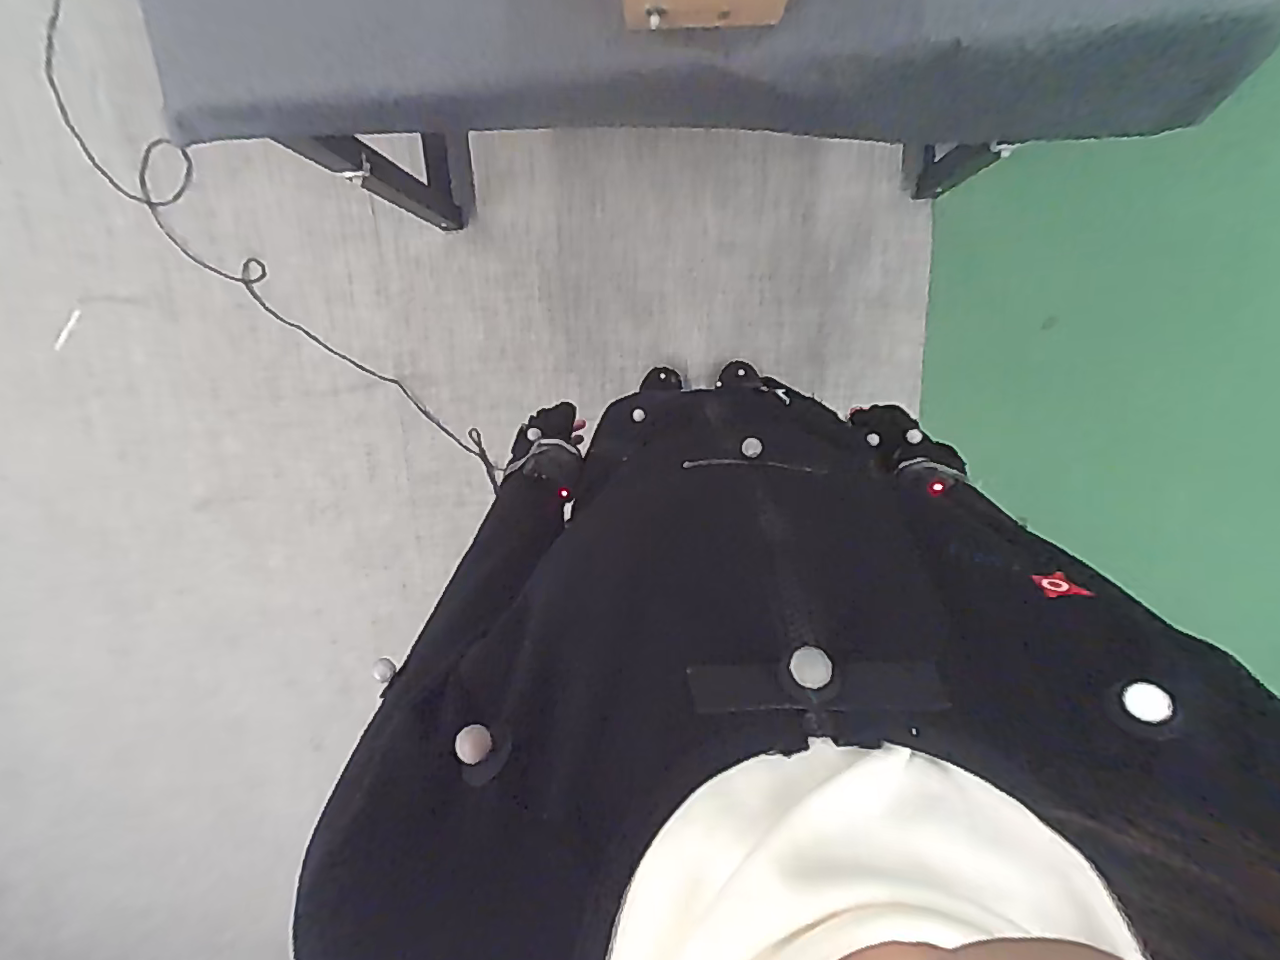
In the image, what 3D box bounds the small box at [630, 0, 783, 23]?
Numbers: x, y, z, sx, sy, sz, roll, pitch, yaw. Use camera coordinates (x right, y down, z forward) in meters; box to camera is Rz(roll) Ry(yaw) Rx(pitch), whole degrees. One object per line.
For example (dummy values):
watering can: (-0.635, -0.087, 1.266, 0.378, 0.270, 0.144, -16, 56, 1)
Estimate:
small box: (0.066, -0.558, 0.489, 0.168, 0.176, 0.179, 1, 102, 2)
